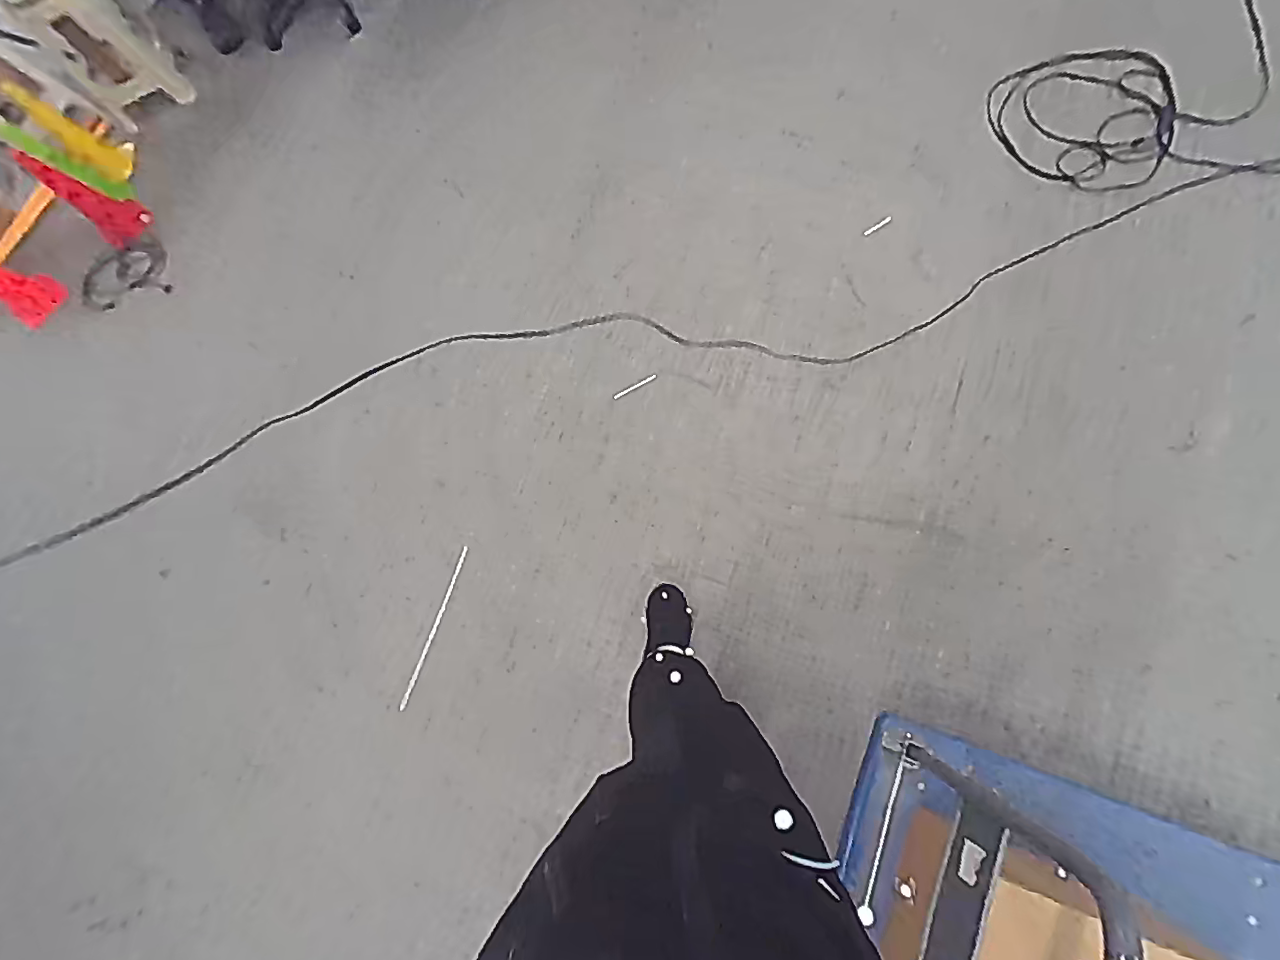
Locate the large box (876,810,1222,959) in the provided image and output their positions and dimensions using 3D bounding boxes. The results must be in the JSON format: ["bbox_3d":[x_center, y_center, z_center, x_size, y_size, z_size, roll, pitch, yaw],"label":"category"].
[{"bbox_3d":[0.666,0.835,0.909,0.408,0.320,0.320,17,79,13],"label":"large box"}]
